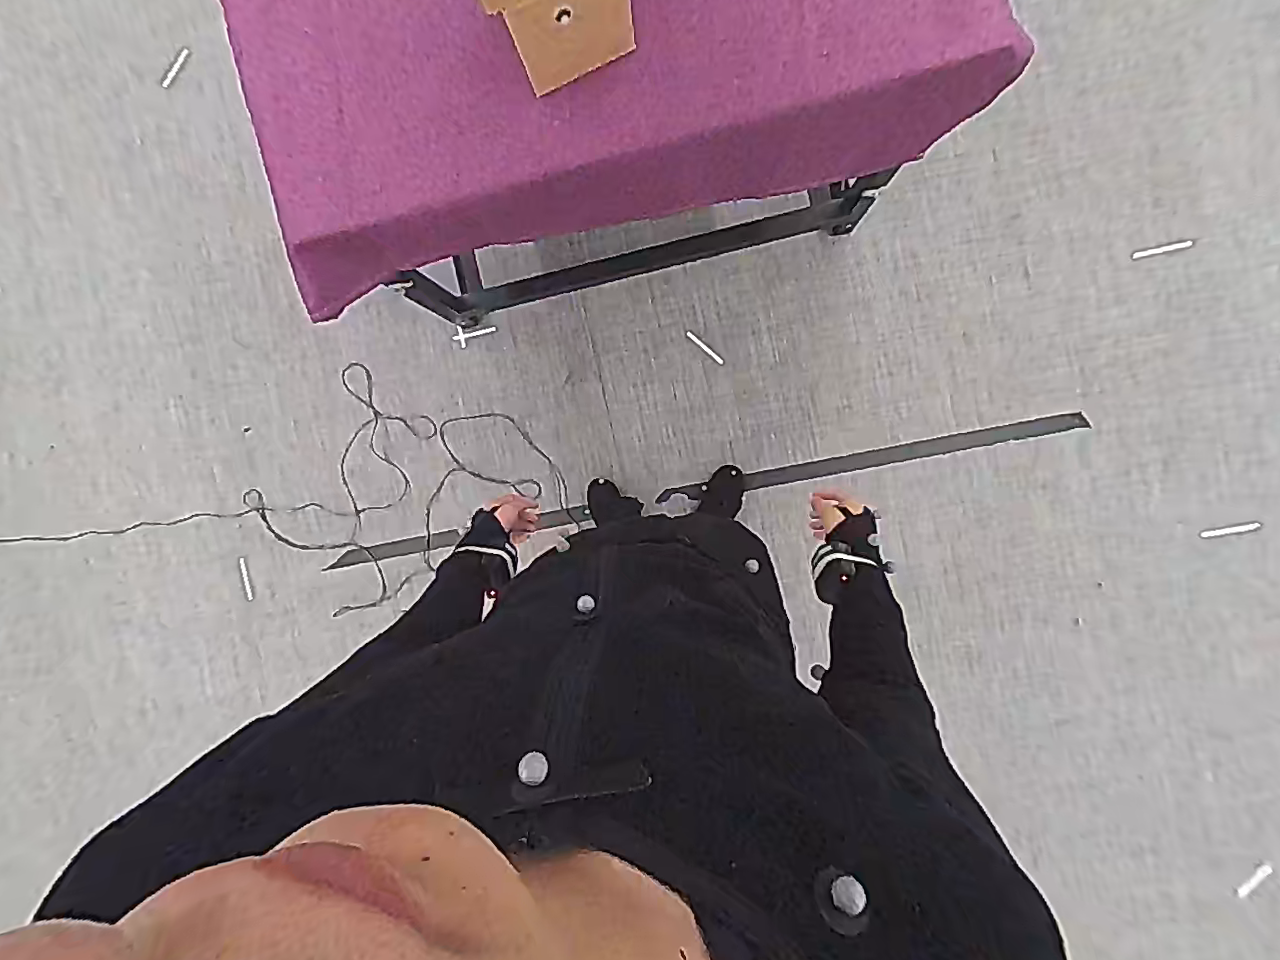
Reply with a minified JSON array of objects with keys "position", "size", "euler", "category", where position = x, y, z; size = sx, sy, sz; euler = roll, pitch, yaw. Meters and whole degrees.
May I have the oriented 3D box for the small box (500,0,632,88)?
[{"position":[-0.123,-0.727,0.787],"size":[0.179,0.176,0.168],"euler":[-23,91,4],"category":"small box"}]
